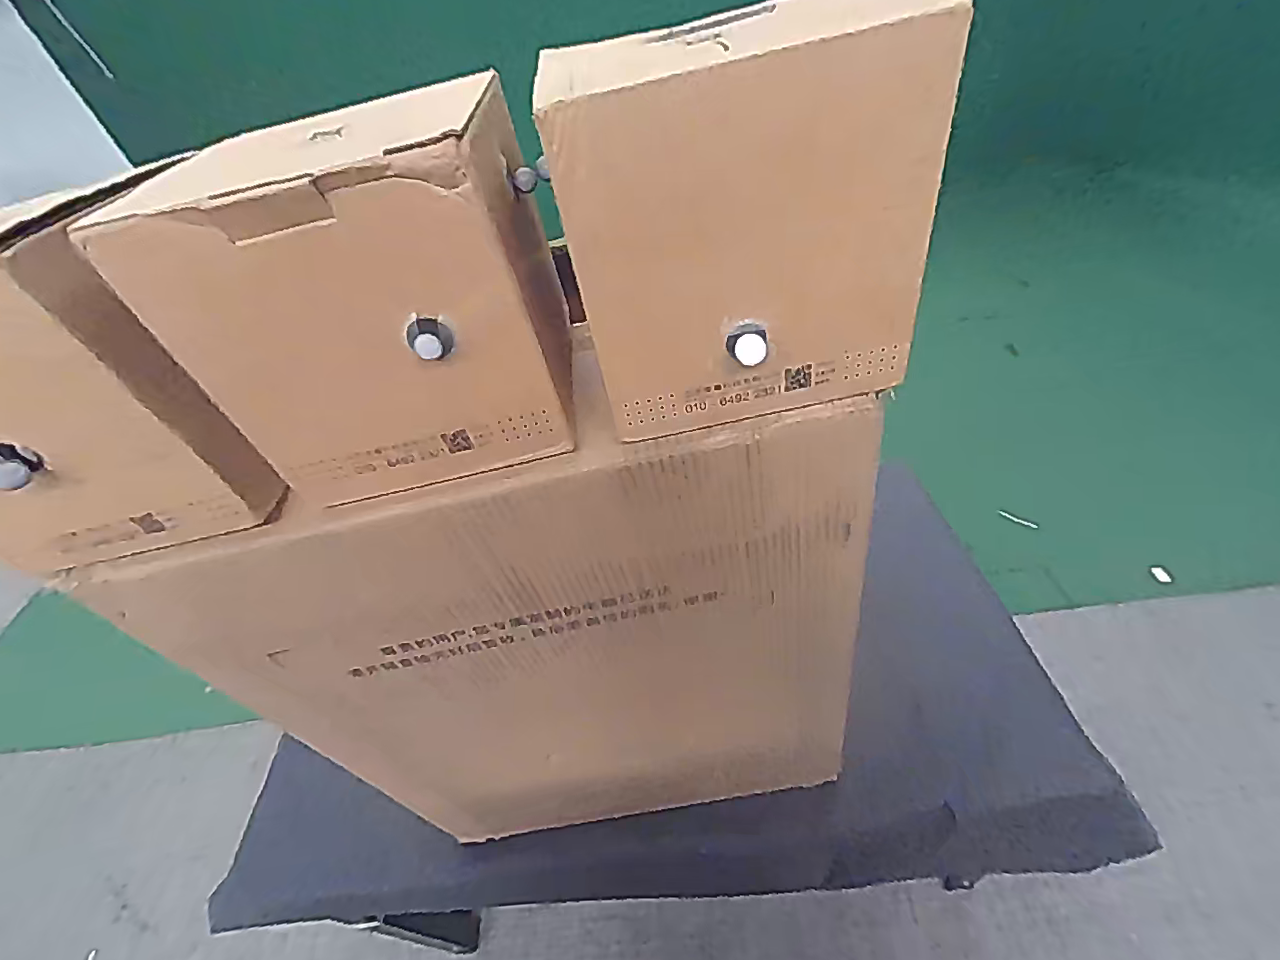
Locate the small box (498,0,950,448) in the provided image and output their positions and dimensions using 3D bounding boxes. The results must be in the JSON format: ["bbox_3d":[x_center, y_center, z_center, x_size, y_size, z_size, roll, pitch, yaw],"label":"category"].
[{"bbox_3d":[0.036,-0.145,0.306,0.168,0.176,0.179,-12,44,4],"label":"small box"}]

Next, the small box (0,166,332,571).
[{"bbox_3d":[-0.333,-0.061,0.338,0.168,0.176,0.179,-13,43,5],"label":"small box"}]
